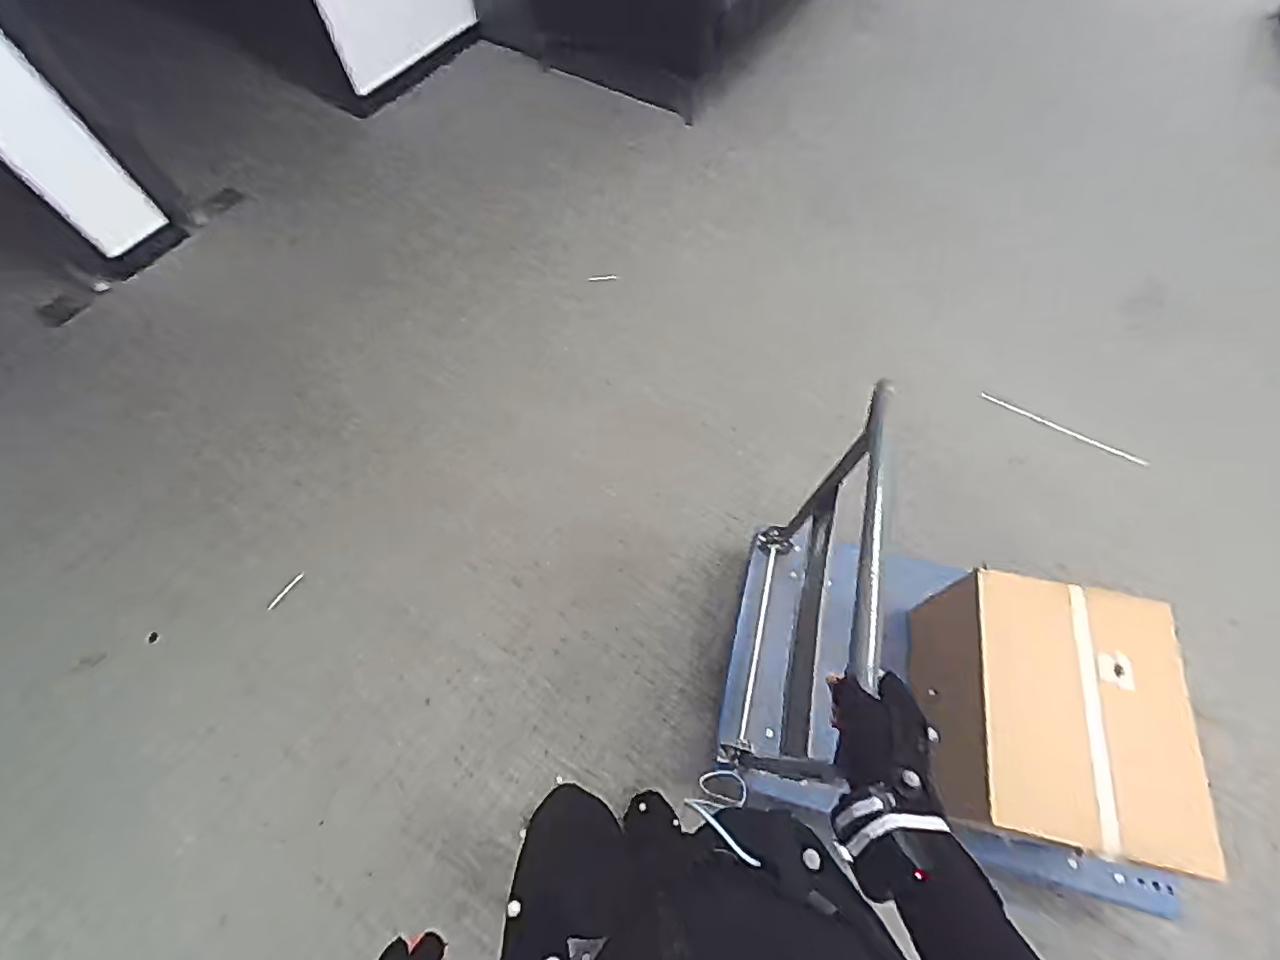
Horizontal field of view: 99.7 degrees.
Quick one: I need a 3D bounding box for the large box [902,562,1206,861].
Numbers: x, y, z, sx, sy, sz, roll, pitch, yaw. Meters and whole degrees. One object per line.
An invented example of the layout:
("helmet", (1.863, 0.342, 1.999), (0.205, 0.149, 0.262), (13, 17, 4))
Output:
("large box", (0.701, 0.419, 1.005), (0.320, 0.320, 0.408), (11, 62, 7))
